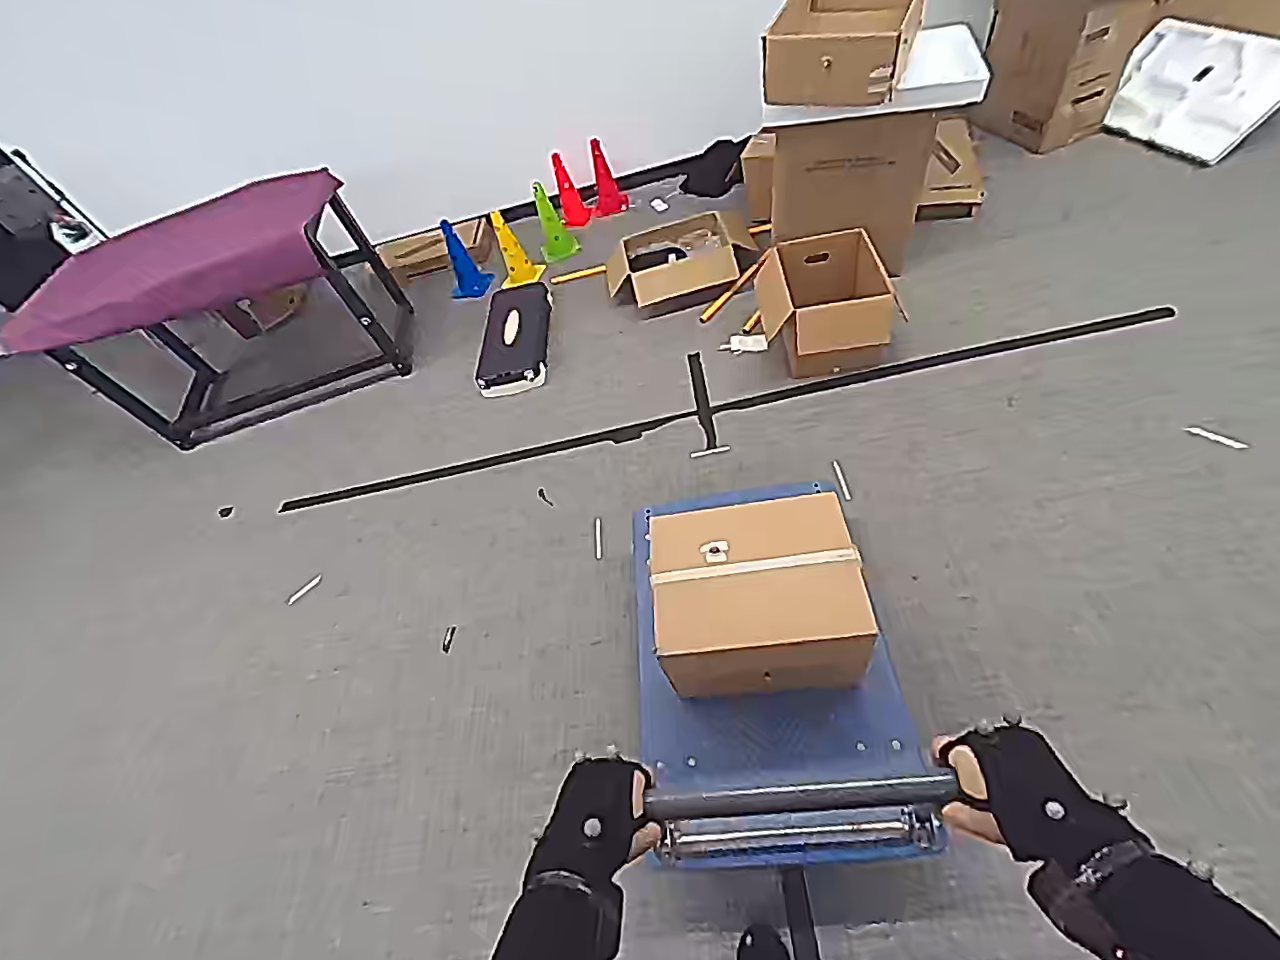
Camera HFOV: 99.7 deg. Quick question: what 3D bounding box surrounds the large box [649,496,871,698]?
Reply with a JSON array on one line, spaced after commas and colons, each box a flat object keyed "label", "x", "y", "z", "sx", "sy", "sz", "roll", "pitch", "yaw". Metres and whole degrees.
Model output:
[{"label": "large box", "x": 0.255, "y": 0.273, "z": 1.210, "sx": 0.408, "sy": 0.320, "sz": 0.320, "roll": -10, "pitch": 51, "yaw": 9}]
